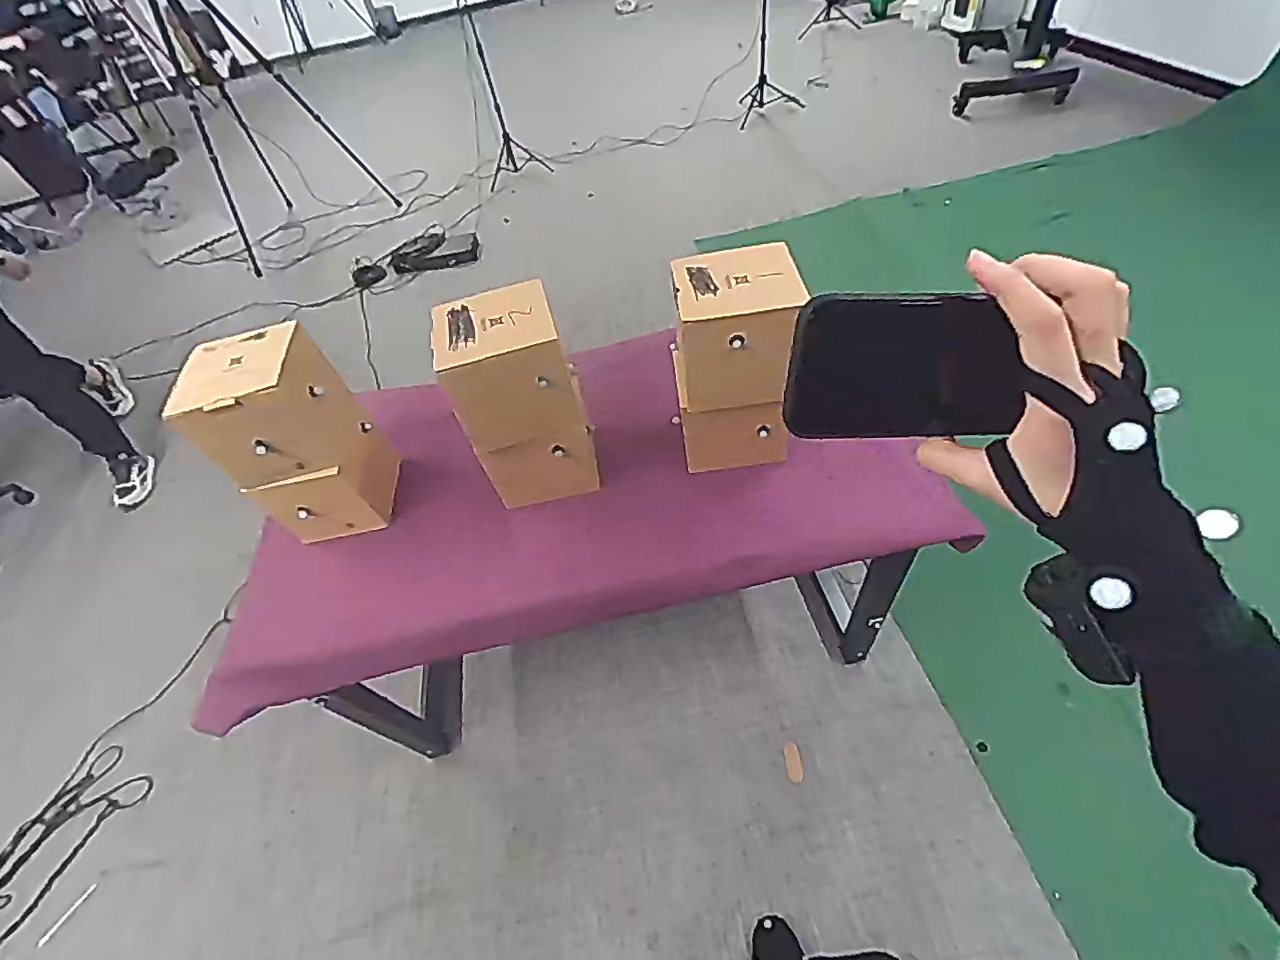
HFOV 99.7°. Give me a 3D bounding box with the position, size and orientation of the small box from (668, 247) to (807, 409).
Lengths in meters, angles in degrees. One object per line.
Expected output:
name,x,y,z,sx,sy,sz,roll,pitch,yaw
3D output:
small box,0.142,-0.224,0.821,0.179,0.176,0.168,-6,51,4

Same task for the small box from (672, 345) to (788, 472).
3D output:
small box,0.154,-0.133,0.958,0.179,0.176,0.168,-7,51,6

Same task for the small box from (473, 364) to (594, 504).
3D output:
small box,-0.183,-0.078,0.971,0.179,0.176,0.168,-11,51,1

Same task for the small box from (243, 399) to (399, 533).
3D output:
small box,-0.568,-0.017,0.993,0.168,0.176,0.179,-11,51,1

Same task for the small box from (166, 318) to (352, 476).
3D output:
small box,-0.592,-0.125,0.871,0.168,0.176,0.179,-14,51,-2
